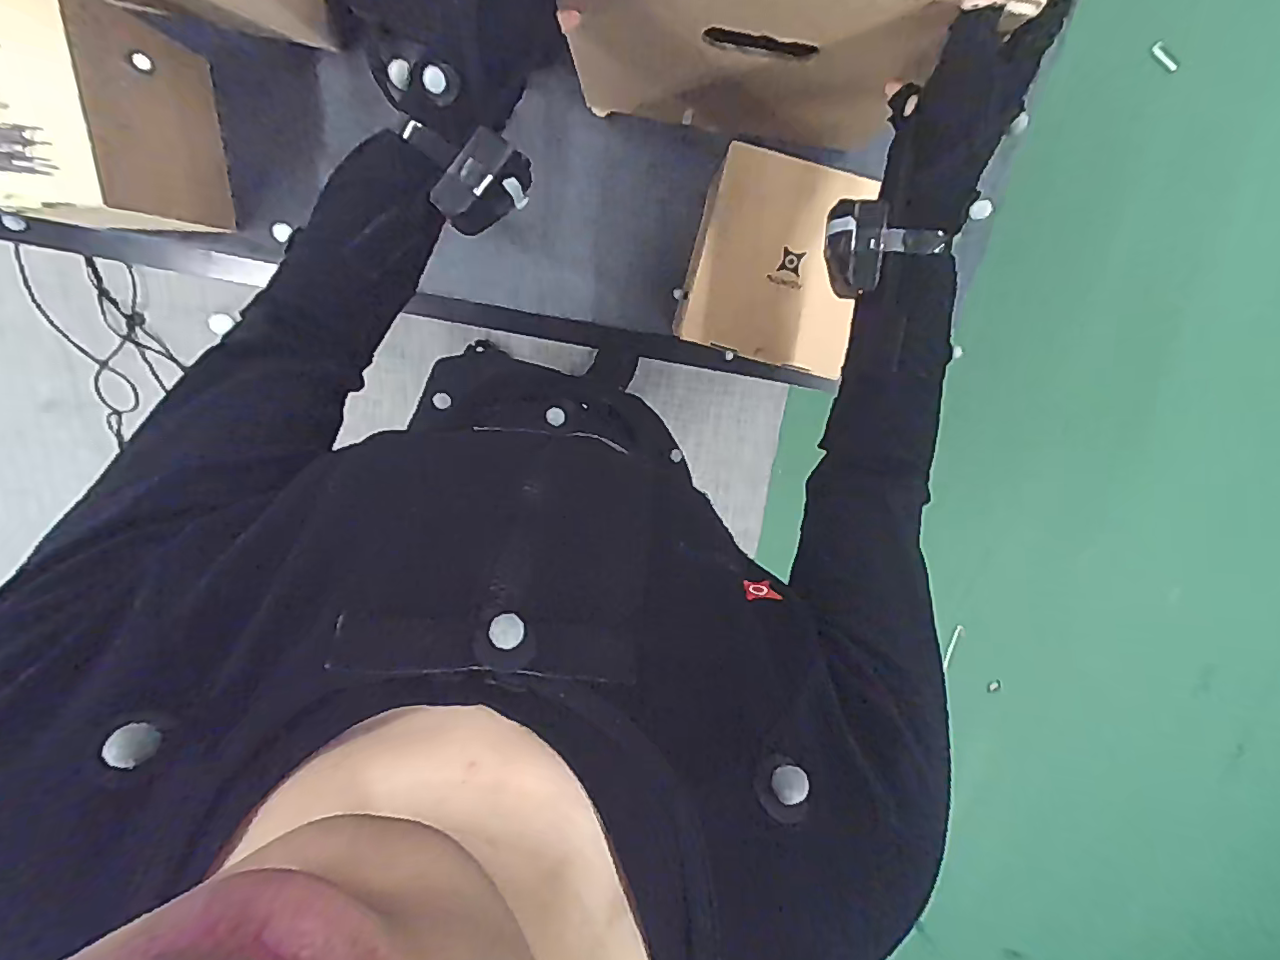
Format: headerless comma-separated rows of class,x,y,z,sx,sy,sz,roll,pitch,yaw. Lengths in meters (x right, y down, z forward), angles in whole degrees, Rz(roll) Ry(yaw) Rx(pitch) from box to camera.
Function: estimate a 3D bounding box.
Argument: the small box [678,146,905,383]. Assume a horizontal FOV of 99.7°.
small box,0.141,-0.220,0.582,0.168,0.176,0.179,14,108,-4
